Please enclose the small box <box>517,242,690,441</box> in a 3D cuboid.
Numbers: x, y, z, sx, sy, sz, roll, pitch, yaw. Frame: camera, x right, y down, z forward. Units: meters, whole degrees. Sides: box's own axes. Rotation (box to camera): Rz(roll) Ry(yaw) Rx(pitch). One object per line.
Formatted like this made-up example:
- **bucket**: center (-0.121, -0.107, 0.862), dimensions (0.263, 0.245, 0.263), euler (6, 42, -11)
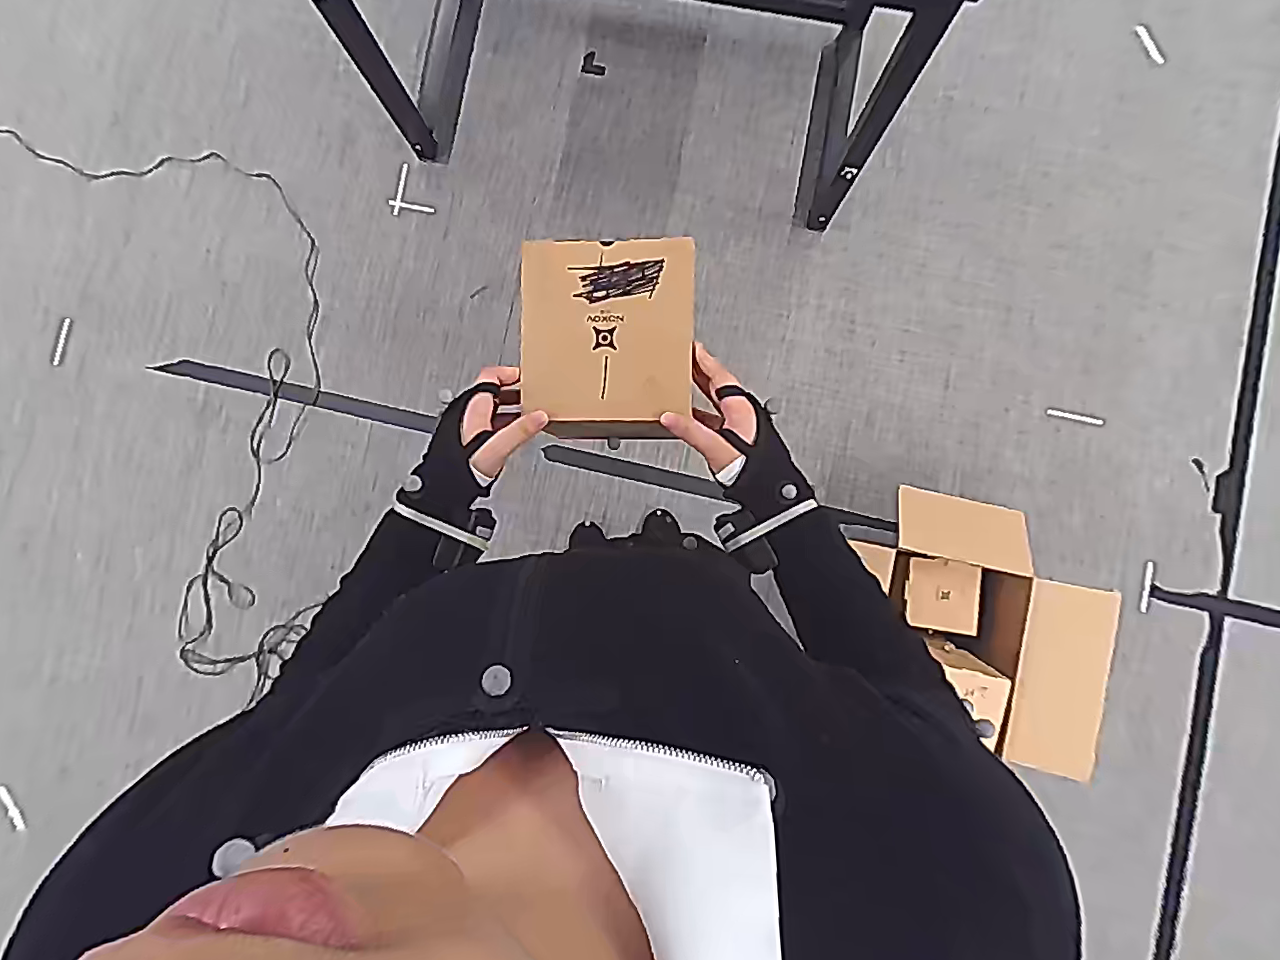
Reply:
- **small box**: center (-0.030, -0.140, 0.599), dimensions (0.168, 0.176, 0.179), euler (0, 89, 4)
